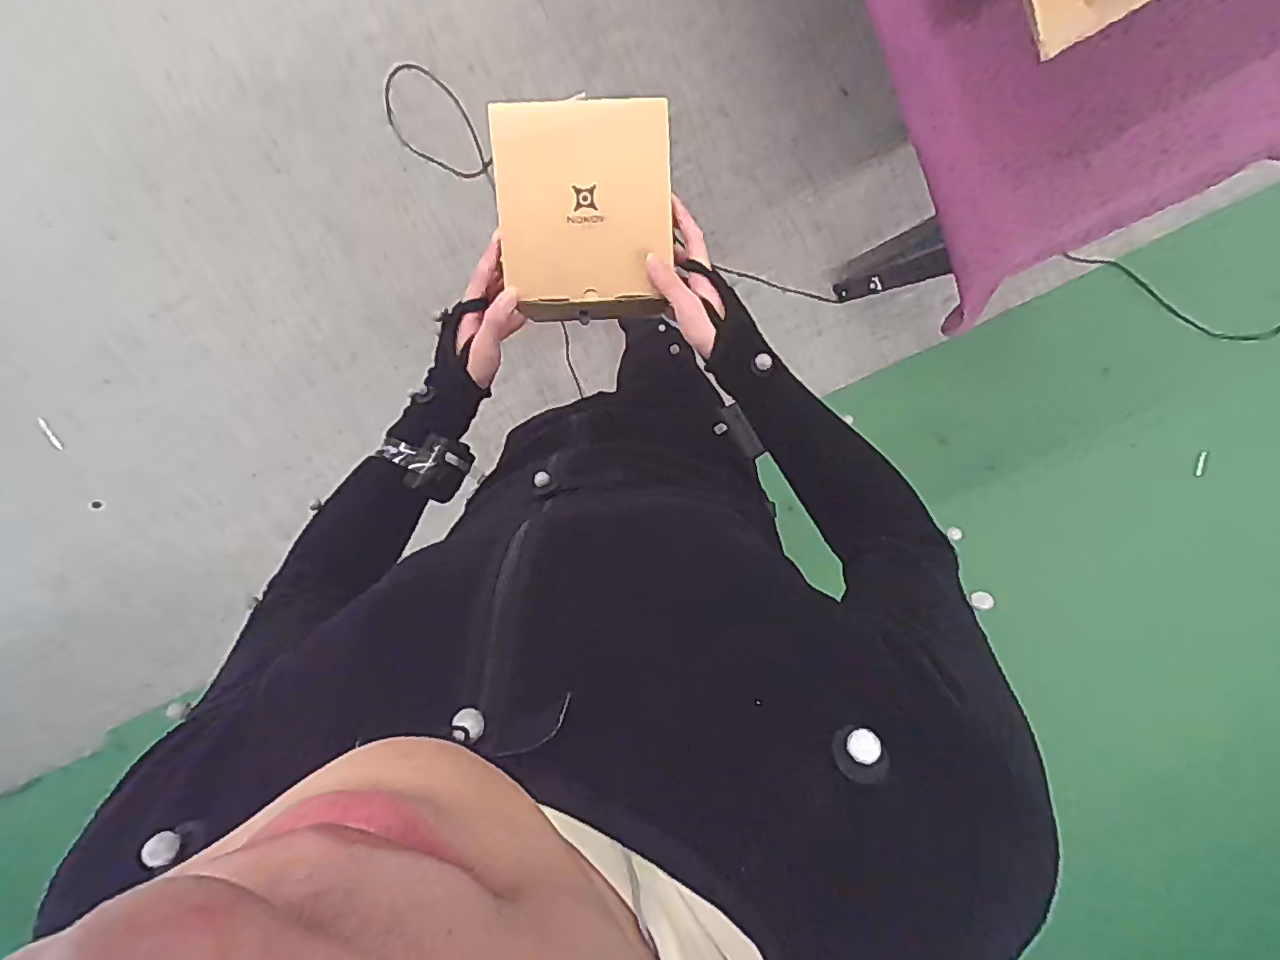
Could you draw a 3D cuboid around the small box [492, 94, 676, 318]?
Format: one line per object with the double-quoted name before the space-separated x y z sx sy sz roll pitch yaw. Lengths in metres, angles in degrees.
"small box" -0.054 -0.275 0.579 0.168 0.176 0.179 -3 102 -2
